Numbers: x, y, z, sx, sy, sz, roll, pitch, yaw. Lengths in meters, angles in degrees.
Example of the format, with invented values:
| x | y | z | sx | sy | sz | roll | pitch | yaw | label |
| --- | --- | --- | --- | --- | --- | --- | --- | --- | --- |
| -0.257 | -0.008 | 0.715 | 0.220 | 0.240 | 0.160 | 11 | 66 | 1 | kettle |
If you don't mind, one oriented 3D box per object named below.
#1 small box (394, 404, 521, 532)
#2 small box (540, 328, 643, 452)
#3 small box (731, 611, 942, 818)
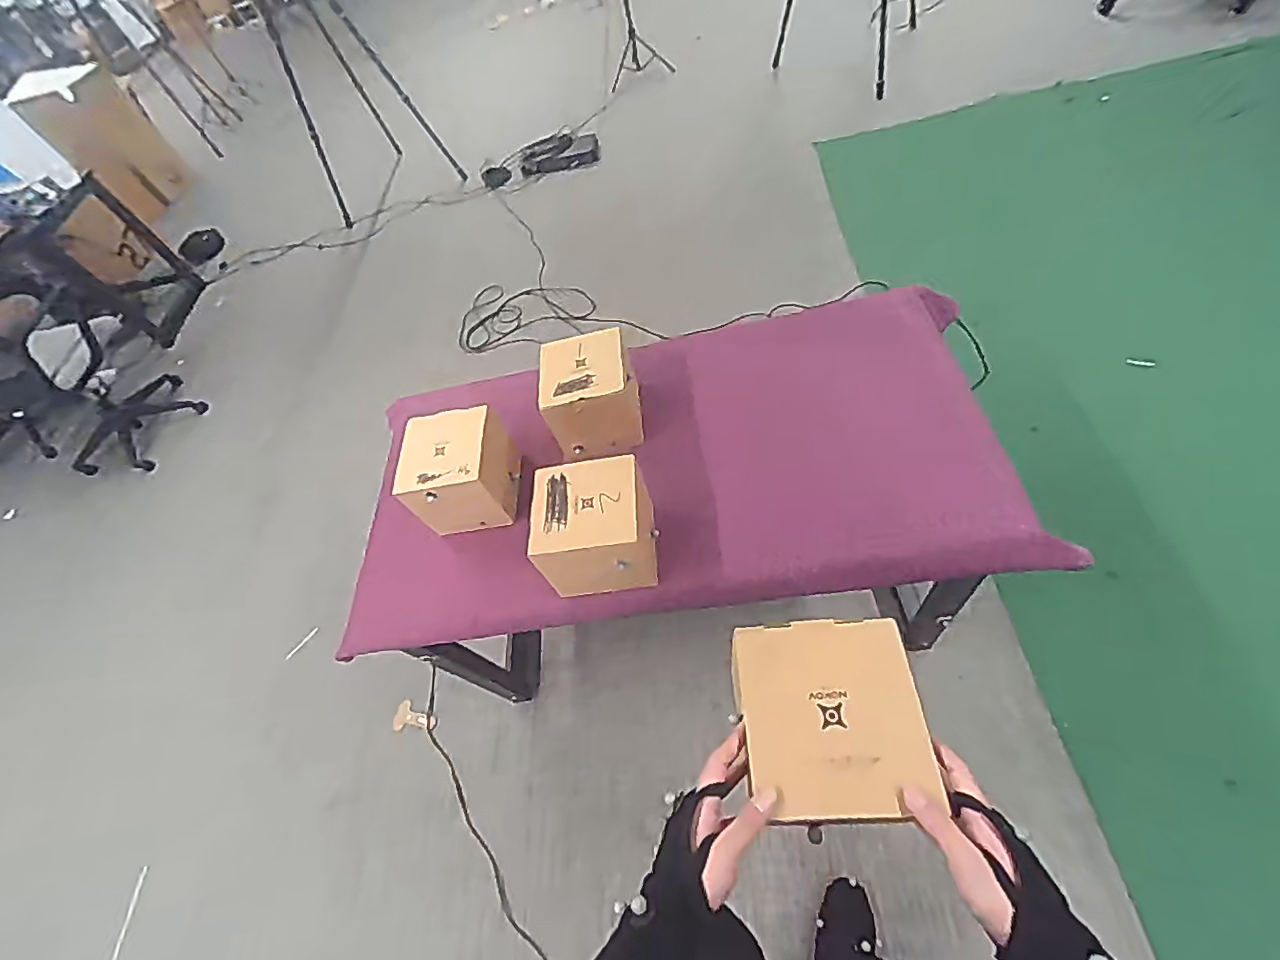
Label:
| x | y | z | sx | sy | sz | roll | pitch | yaw | label |
| --- | --- | --- | --- | --- | --- | --- | --- | --- | --- |
| -0.344 | -0.020 | 1.060 | 0.168 | 0.176 | 0.179 | -10 | 56 | 10 | small box |
| -0.094 | -0.173 | 1.097 | 0.168 | 0.176 | 0.179 | -10 | 55 | 8 | small box |
| 0.188 | 0.256 | 0.581 | 0.168 | 0.176 | 0.179 | -5 | 56 | 6 | small box |
